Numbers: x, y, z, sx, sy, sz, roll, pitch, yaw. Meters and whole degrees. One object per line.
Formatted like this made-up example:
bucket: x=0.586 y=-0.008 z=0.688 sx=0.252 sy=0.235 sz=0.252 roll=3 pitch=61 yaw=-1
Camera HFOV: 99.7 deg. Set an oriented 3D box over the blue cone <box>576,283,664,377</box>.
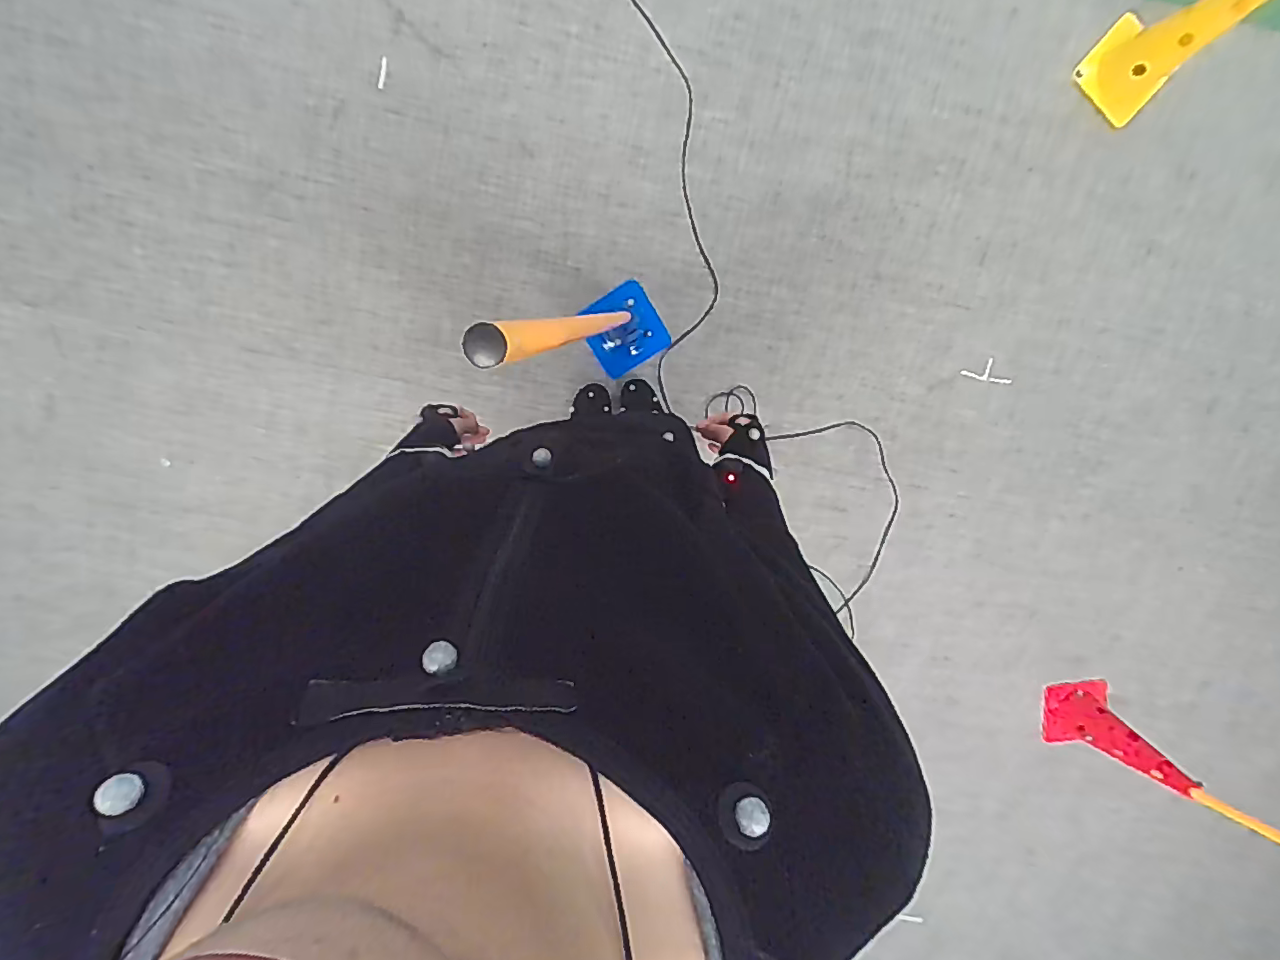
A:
blue cone: x=-0.044 y=-0.354 z=1.255 sx=0.193 sy=0.380 sz=0.192 roll=-33 pitch=101 yaw=5
